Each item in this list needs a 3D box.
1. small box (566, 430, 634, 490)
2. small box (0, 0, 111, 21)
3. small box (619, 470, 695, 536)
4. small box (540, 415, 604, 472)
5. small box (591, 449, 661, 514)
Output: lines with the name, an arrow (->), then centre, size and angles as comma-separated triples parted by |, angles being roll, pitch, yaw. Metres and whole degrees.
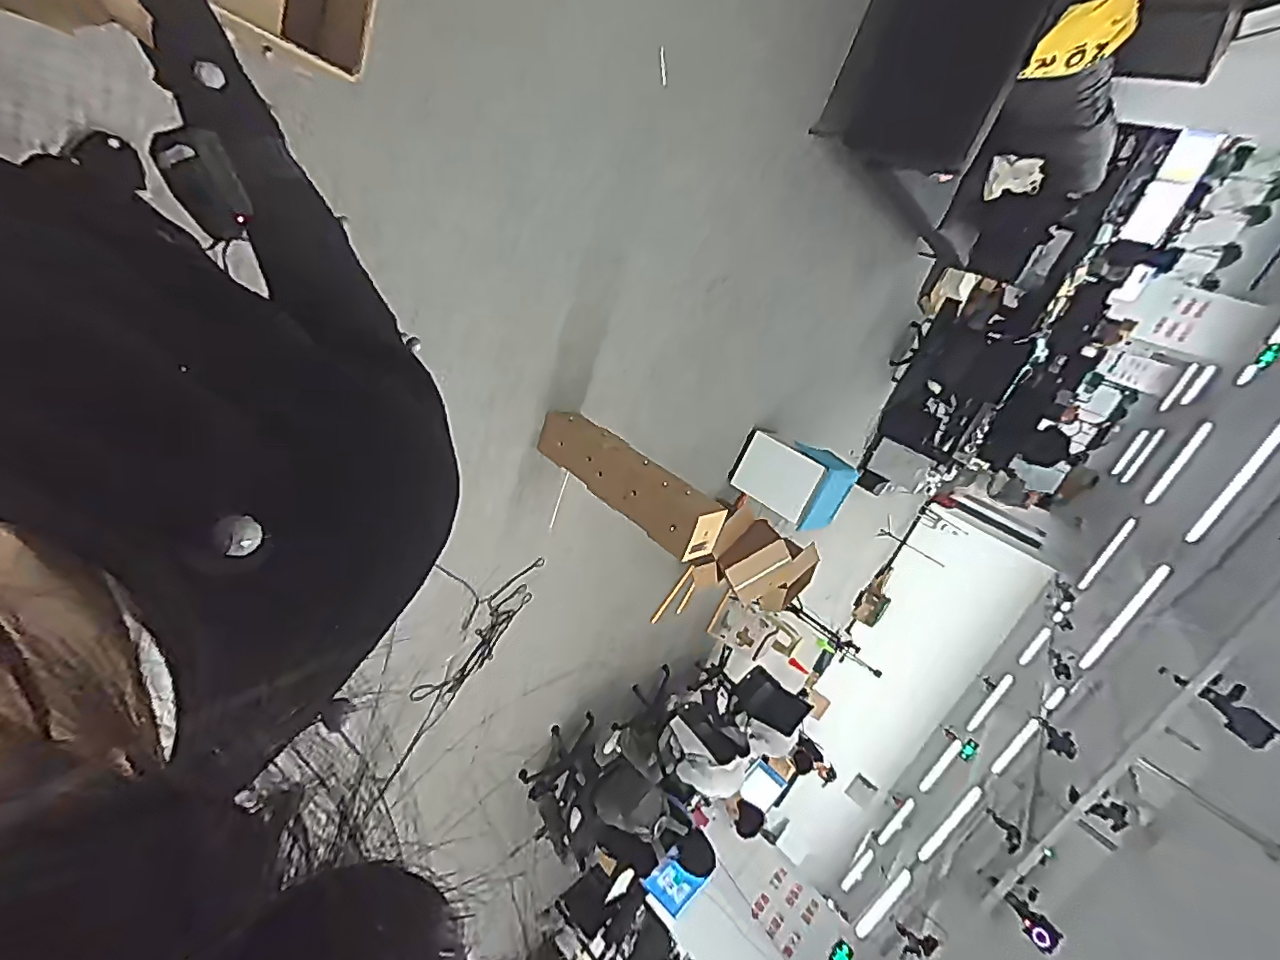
small box -> -0.158, -0.081, 2.080 | 0.168, 0.176, 0.179 | -4, 122, -50
small box -> -0.467, -0.417, 0.328 | 0.179, 0.176, 0.168 | -13, 122, -50
small box -> 0.057, 0.074, 1.891 | 0.179, 0.176, 0.168 | -7, 123, -48
small box -> -0.276, -0.150, 2.171 | 0.168, 0.176, 0.179 | -6, 123, -50
small box -> -0.056, 0.001, 1.983 | 0.168, 0.176, 0.179 | -8, 125, -49
